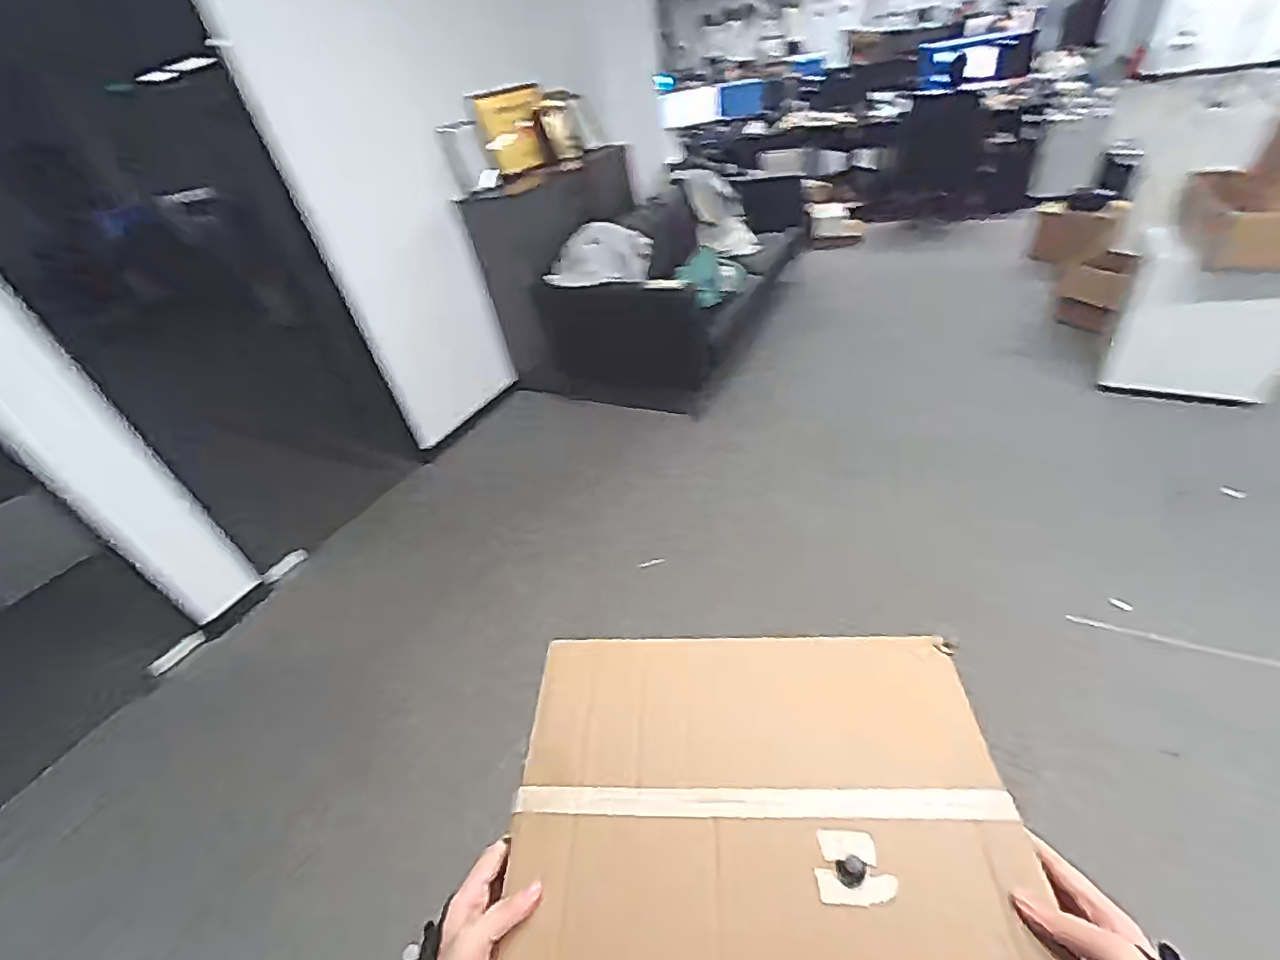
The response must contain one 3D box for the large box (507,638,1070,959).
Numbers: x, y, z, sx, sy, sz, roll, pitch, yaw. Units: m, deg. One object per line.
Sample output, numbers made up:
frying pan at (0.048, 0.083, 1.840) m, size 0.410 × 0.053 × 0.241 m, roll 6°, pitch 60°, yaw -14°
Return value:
large box at (0.114, 0.383, 0.560) m, size 0.408 × 0.320 × 0.320 m, roll -1°, pitch 41°, yaw 5°
